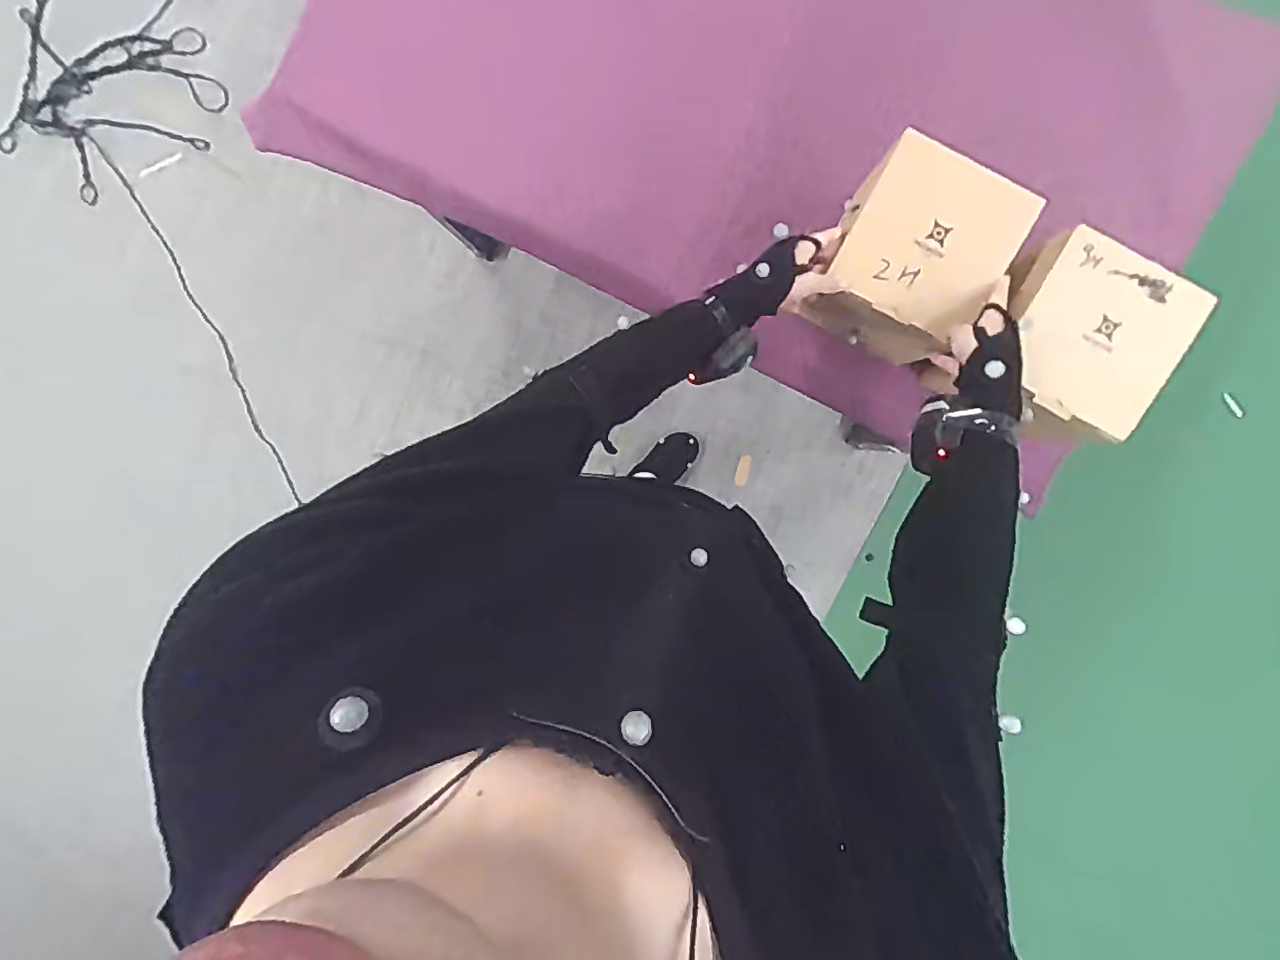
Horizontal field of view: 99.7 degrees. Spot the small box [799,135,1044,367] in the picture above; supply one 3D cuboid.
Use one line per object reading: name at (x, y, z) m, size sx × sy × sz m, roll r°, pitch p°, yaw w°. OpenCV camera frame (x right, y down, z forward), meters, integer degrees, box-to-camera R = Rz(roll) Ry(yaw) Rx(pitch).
small box at (0.314, -0.255, 0.650) m, size 0.168 × 0.176 × 0.179 m, roll 29°, pitch 98°, yaw 1°
